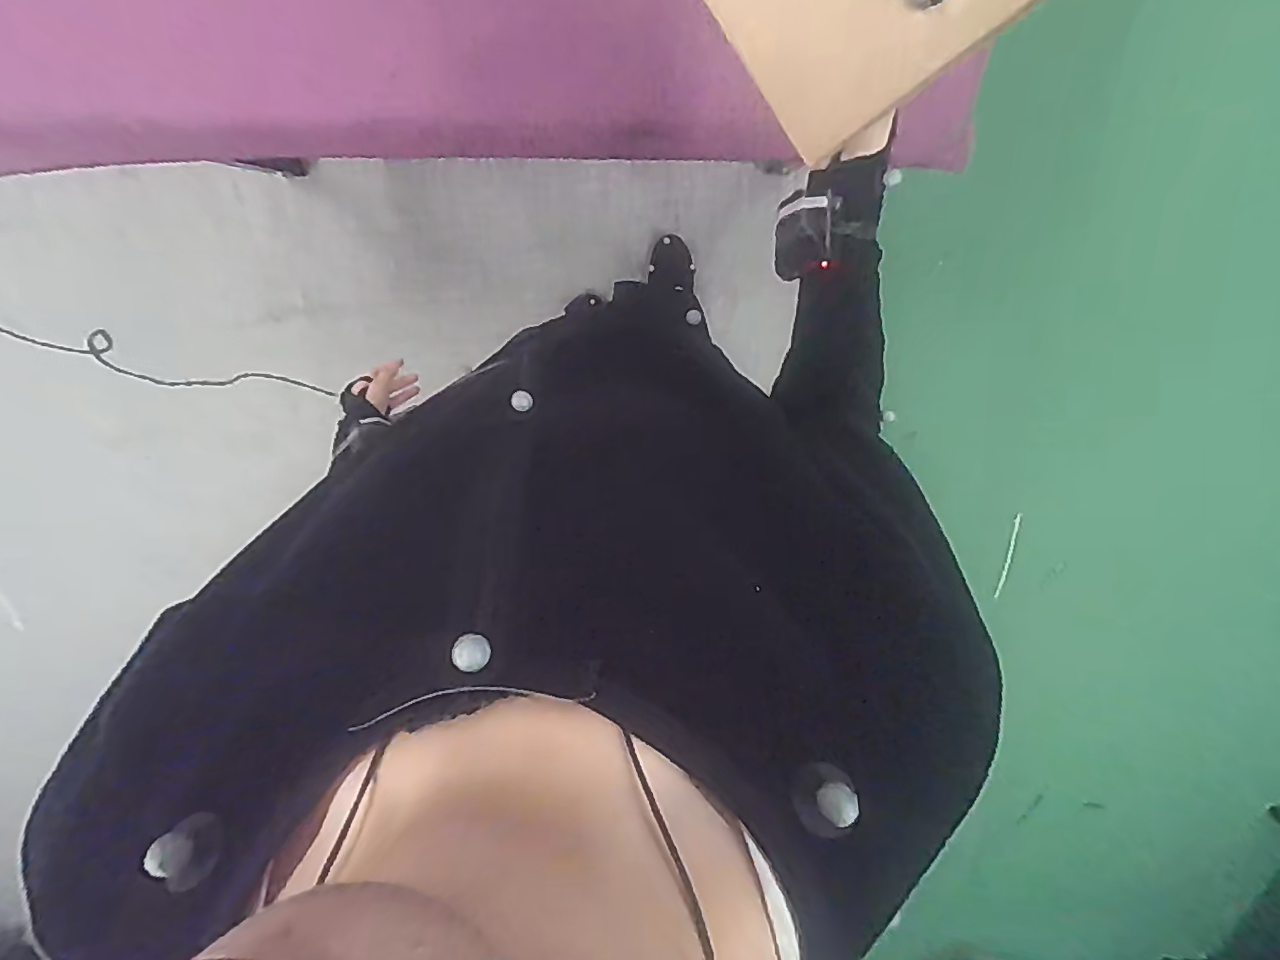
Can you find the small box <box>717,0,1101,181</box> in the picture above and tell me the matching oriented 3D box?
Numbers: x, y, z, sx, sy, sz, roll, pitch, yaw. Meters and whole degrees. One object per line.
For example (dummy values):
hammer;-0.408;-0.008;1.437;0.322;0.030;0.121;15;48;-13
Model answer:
small box;0.143;-0.312;0.282;0.176;0.168;0.179;45;144;-24
